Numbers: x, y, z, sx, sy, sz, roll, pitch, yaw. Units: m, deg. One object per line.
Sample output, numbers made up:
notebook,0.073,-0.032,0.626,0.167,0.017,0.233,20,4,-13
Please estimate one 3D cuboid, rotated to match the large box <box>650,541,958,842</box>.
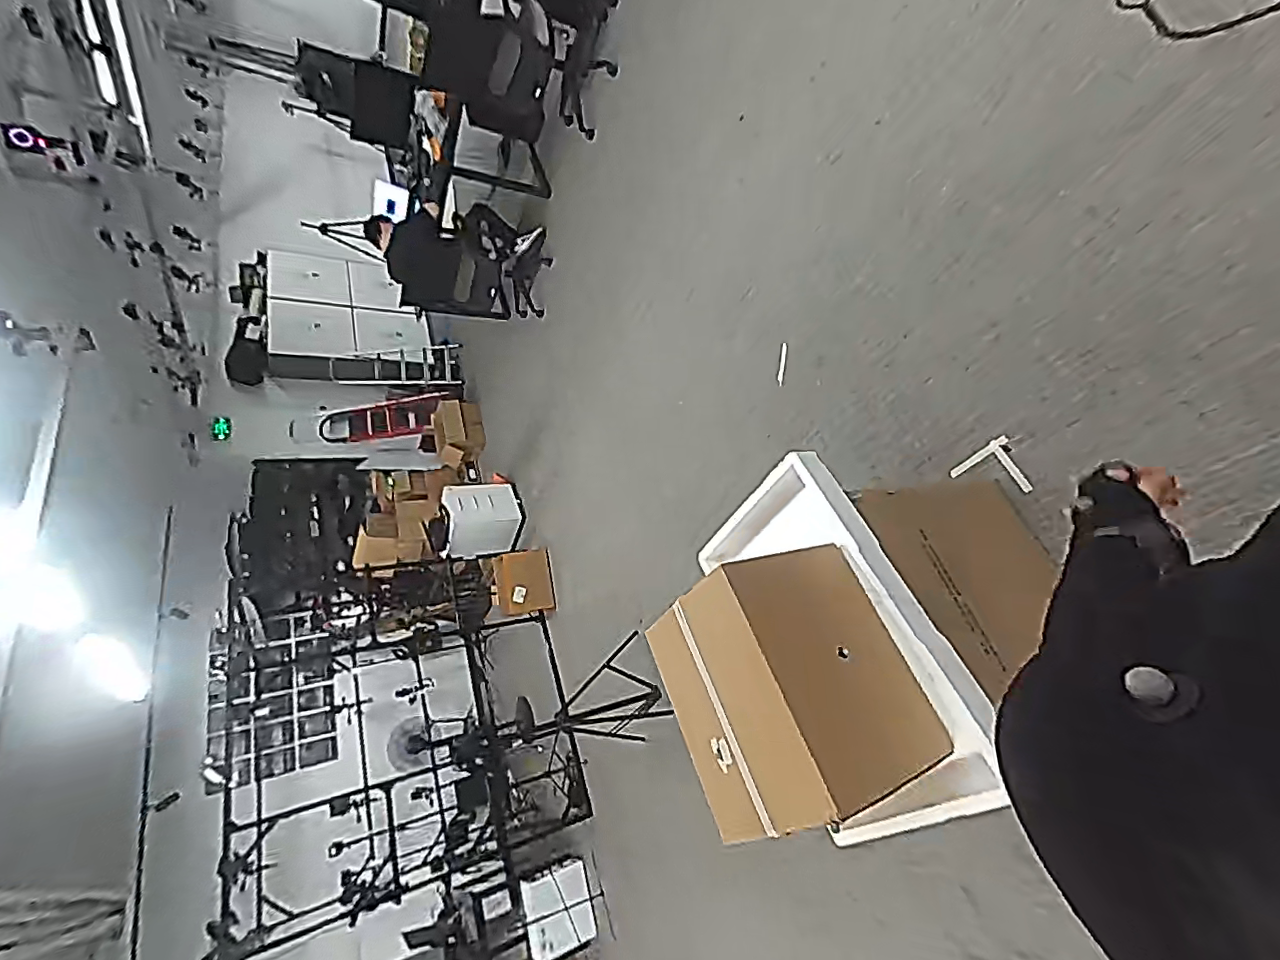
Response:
large box,0.279,0.376,1.013,0.320,0.320,0.408,-56,49,46
